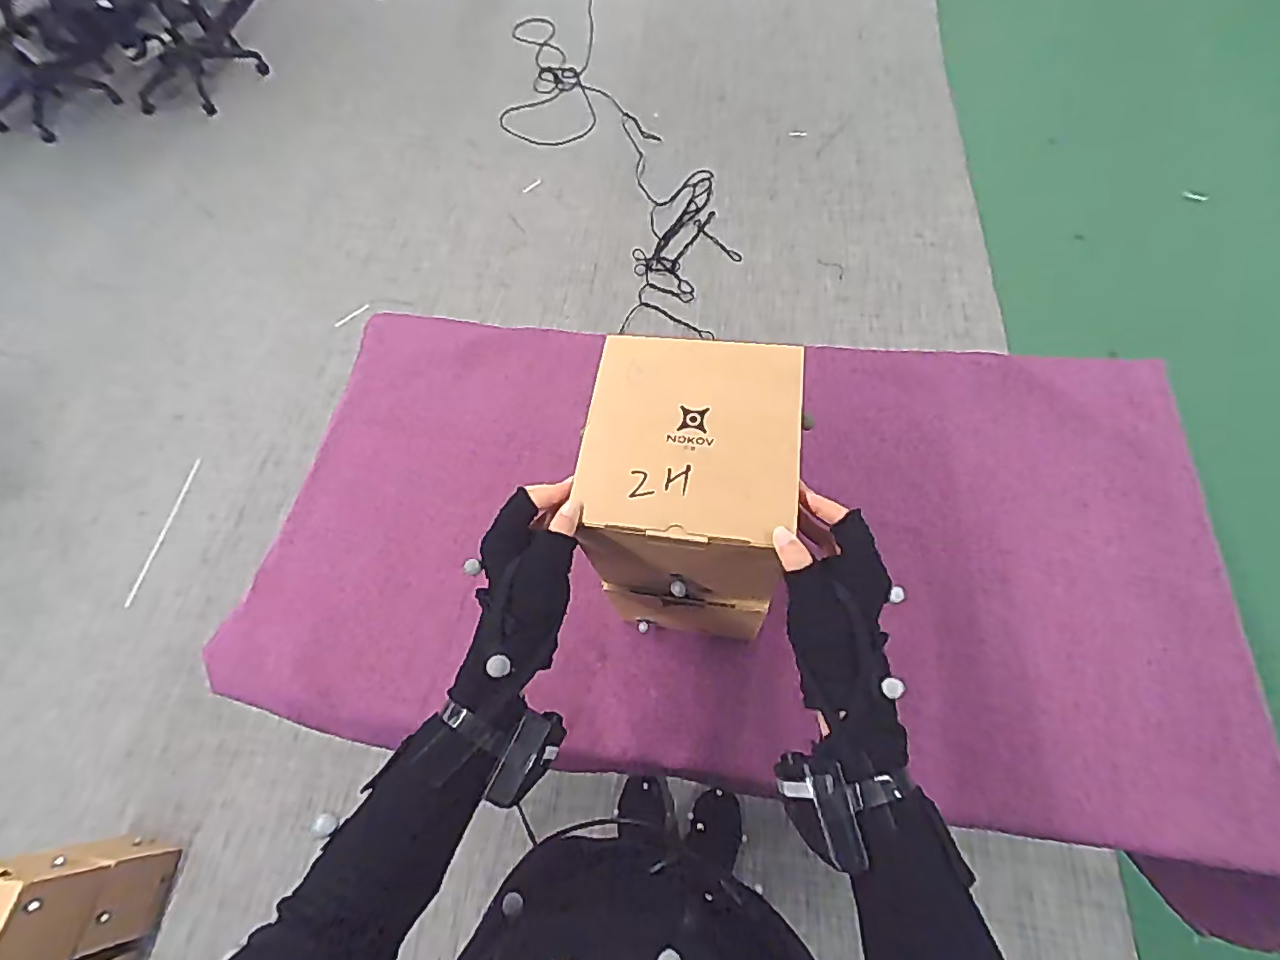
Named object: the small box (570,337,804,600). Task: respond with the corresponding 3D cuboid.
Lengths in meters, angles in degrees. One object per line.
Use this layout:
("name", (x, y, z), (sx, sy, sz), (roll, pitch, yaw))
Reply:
("small box", (0.048, -0.004, 0.496), (0.168, 0.176, 0.179), (6, 66, 10))

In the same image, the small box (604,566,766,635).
("small box", (0.066, 0.075, 0.639), (0.168, 0.176, 0.179), (6, 64, 10))
